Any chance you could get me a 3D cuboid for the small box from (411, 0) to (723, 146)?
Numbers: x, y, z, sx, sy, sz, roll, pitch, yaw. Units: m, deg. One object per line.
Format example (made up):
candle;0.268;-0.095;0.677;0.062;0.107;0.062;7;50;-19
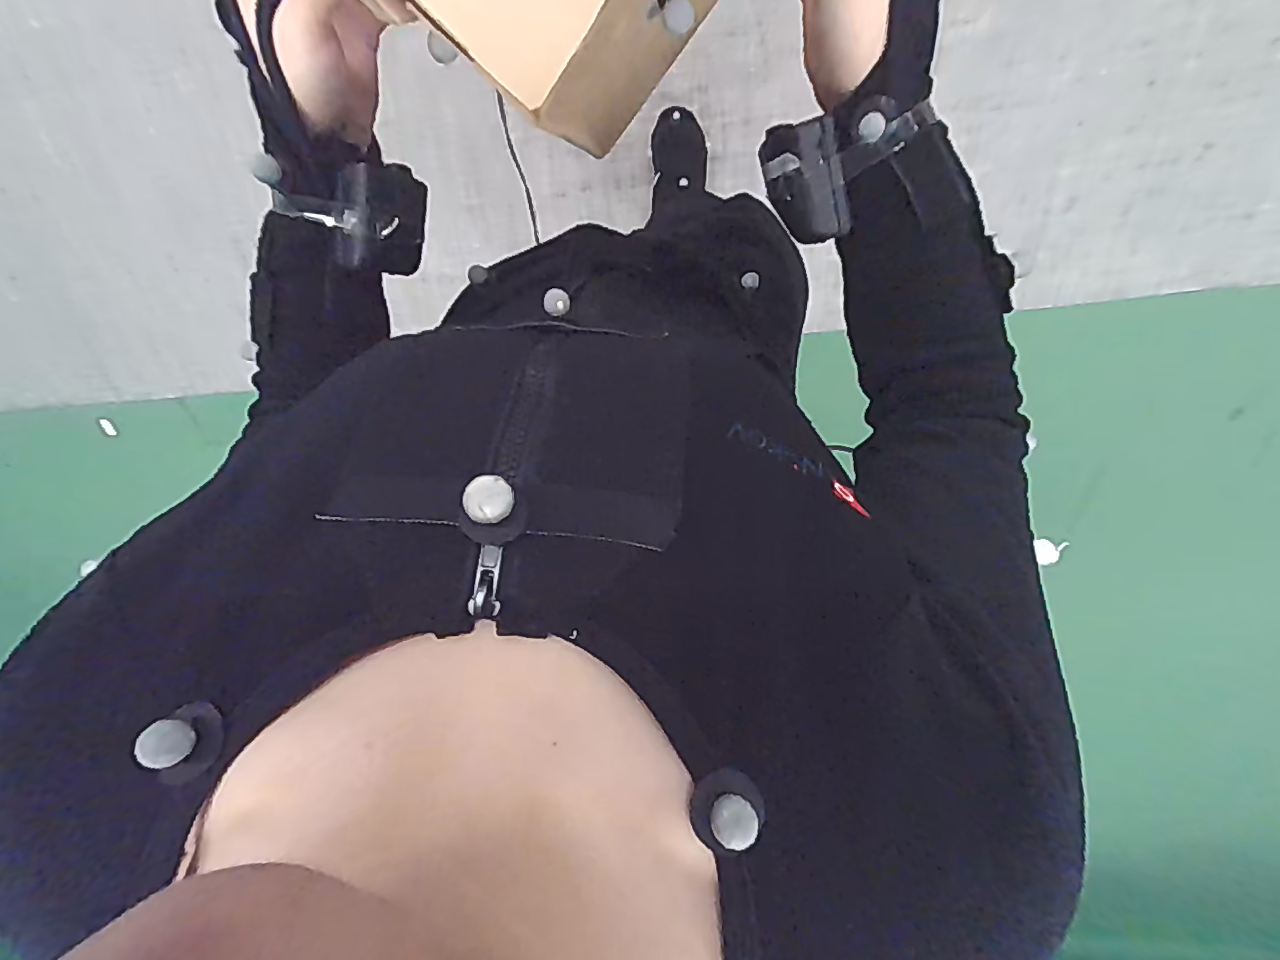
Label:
small box;-0.033;-0.285;0.240;0.168;0.176;0.179;40;114;-13
